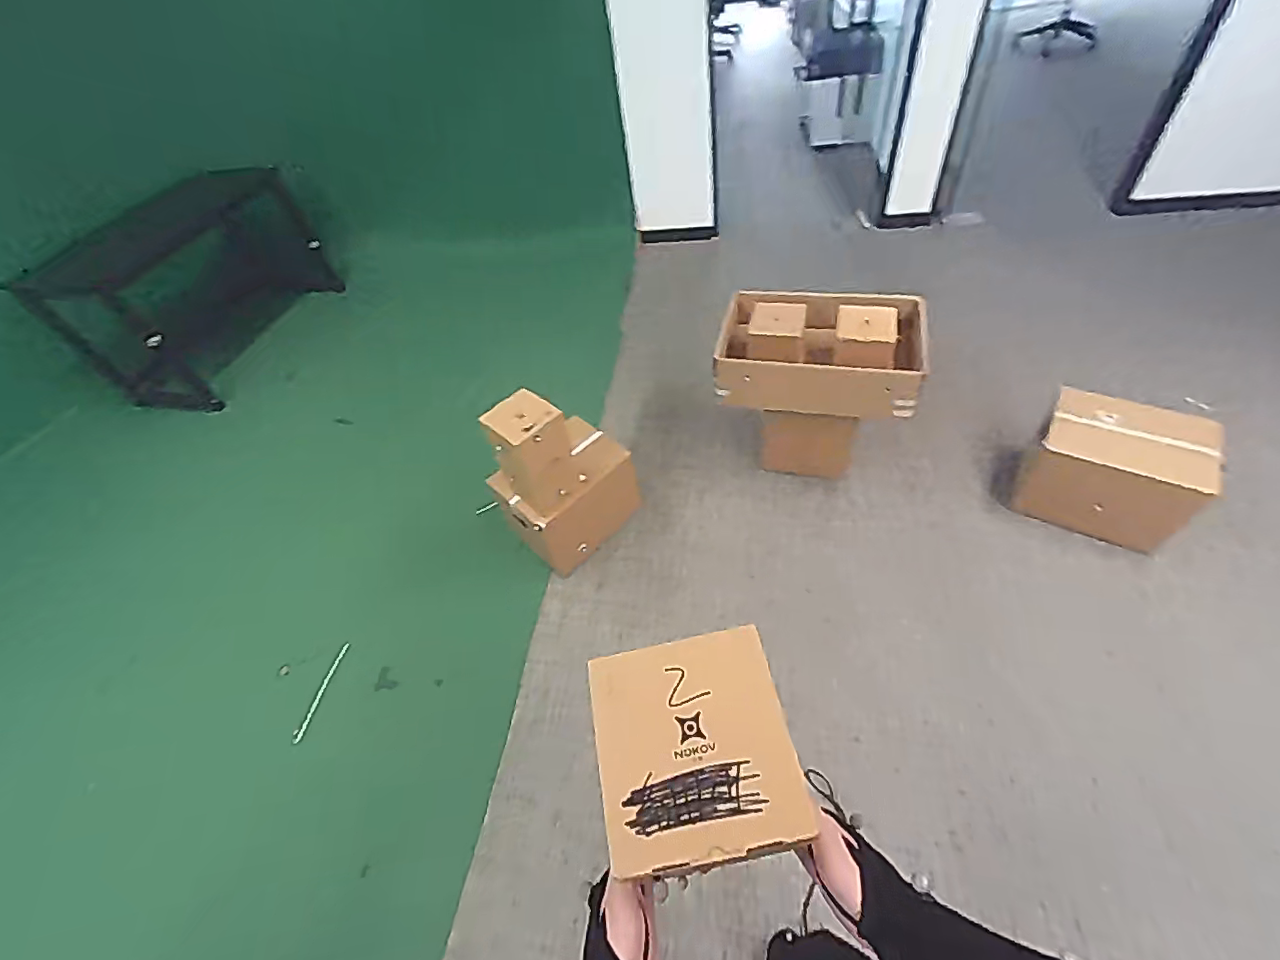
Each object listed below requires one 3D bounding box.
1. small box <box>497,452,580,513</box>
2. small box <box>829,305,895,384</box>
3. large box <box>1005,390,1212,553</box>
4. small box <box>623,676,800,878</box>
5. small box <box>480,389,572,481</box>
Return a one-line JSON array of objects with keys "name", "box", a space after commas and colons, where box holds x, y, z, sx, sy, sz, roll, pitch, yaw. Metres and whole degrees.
[{"name": "small box", "box": [-0.311, -0.027, 1.684, 0.179, 0.176, 0.168, 34, 63, 30]}, {"name": "small box", "box": [0.704, -0.431, 1.720, 0.168, 0.176, 0.179, 9, 54, 16]}, {"name": "large box", "box": [1.465, -0.030, 1.717, 0.408, 0.320, 0.320, 21, 56, 26]}, {"name": "small box", "box": [0.083, 0.363, 0.657, 0.168, 0.176, 0.179, -12, 53, 0]}, {"name": "small box", "box": [-0.323, -0.127, 1.554, 0.179, 0.176, 0.168, 33, 62, 31]}]
